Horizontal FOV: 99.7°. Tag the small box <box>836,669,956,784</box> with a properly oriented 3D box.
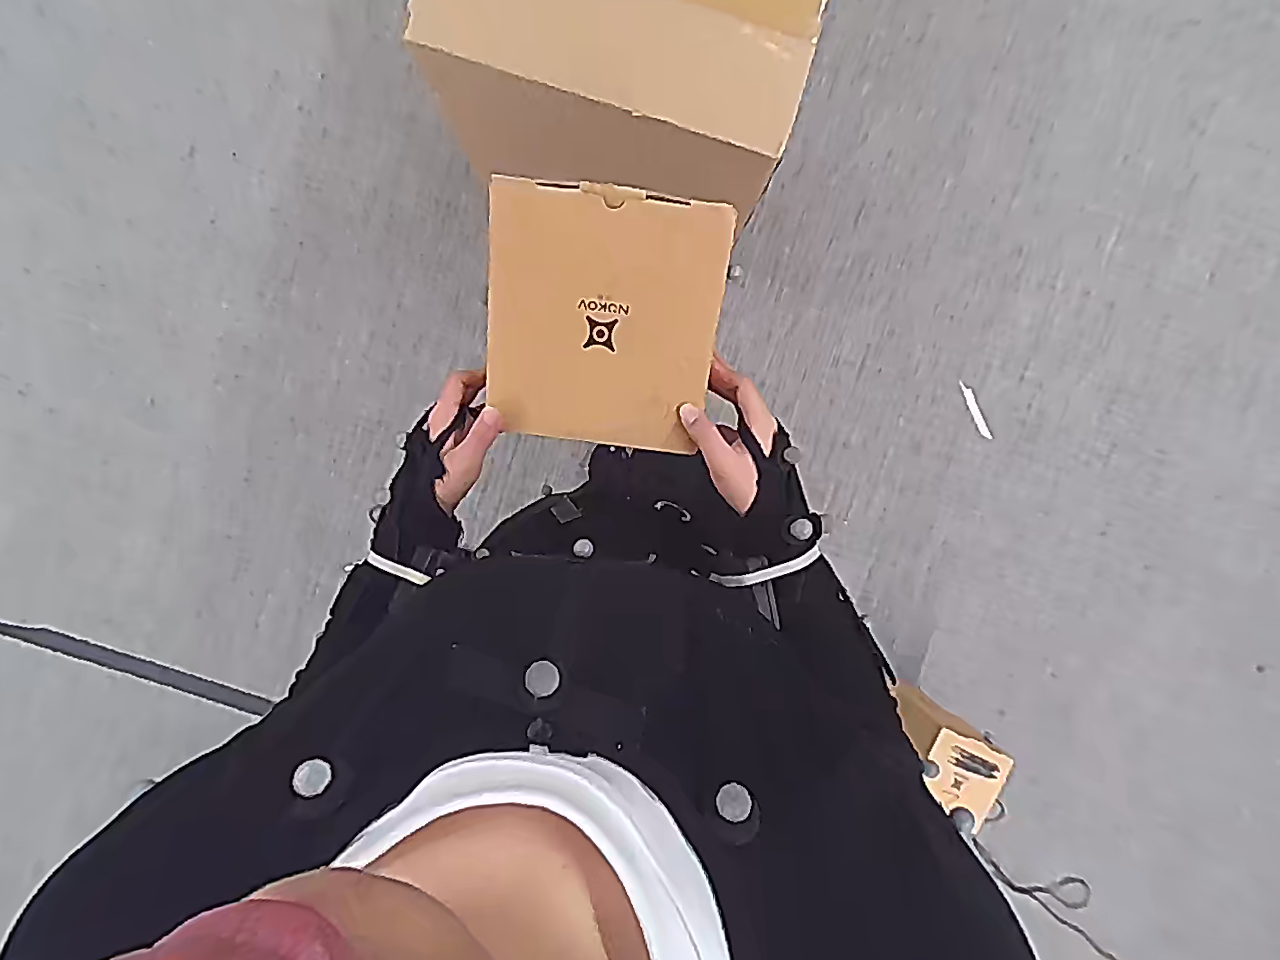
[{"bbox_3d":[0.616,0.590,1.321,0.179,0.176,0.168,26,91,-2],"label":"small box"}]

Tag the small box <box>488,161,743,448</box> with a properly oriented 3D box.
[{"bbox_3d":[-0.020,-0.142,0.451,0.168,0.176,0.179,7,110,-1],"label":"small box"}]
